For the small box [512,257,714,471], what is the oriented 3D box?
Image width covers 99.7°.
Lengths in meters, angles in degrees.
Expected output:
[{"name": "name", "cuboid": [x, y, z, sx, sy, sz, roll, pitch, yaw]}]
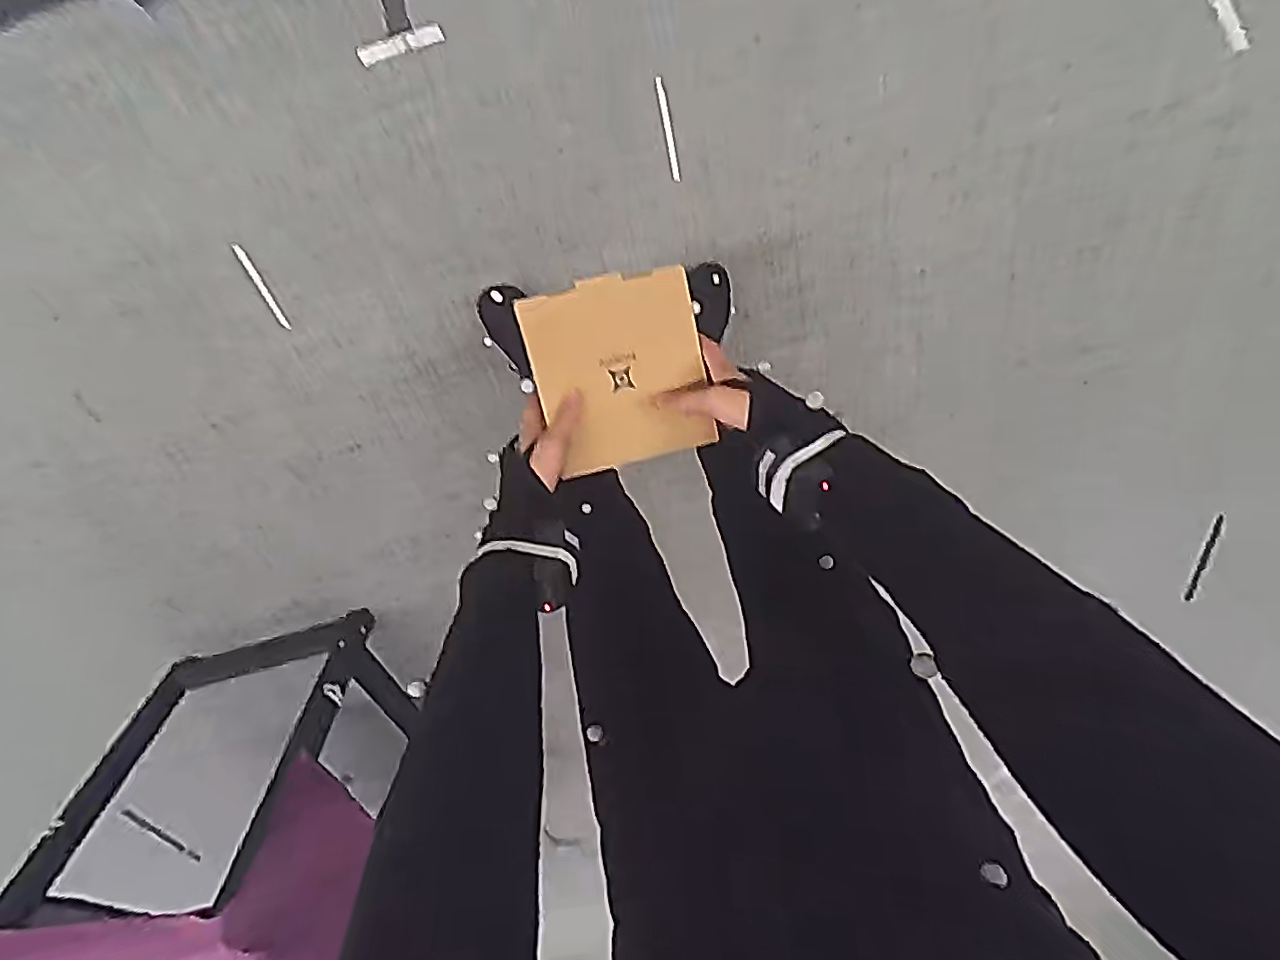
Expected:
[{"name": "small box", "cuboid": [-0.030, -0.124, 0.598, 0.168, 0.176, 0.179, -14, 101, -4]}]
